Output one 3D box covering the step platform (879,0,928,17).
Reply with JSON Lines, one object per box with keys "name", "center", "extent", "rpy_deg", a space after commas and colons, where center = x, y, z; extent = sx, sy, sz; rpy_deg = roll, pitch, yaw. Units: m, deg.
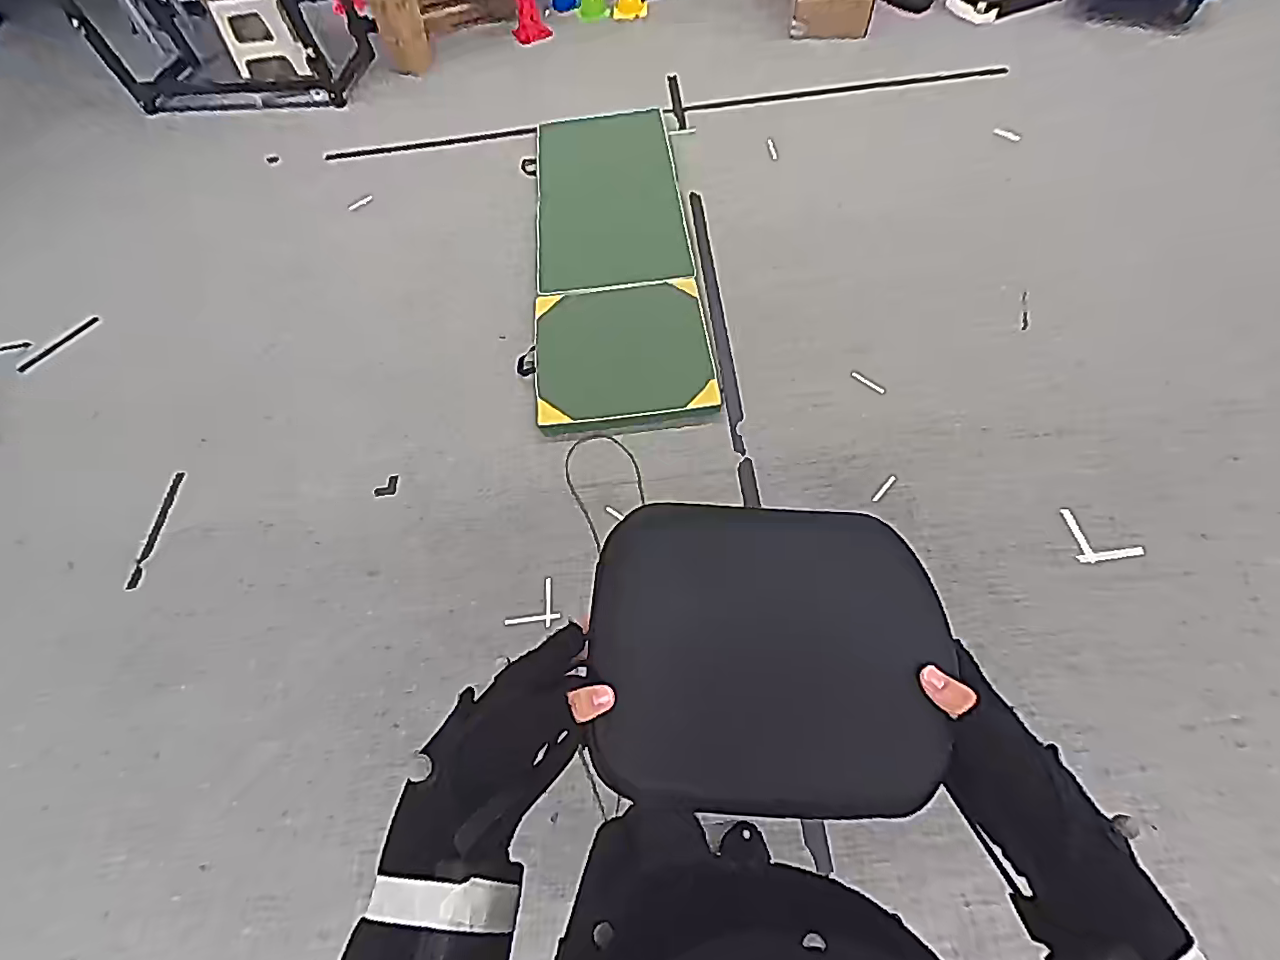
{"name": "step platform", "center": [1.679, -2.823, 2.992], "extent": [0.684, 0.204, 0.286], "rpy_deg": [-32, 63, -12]}
